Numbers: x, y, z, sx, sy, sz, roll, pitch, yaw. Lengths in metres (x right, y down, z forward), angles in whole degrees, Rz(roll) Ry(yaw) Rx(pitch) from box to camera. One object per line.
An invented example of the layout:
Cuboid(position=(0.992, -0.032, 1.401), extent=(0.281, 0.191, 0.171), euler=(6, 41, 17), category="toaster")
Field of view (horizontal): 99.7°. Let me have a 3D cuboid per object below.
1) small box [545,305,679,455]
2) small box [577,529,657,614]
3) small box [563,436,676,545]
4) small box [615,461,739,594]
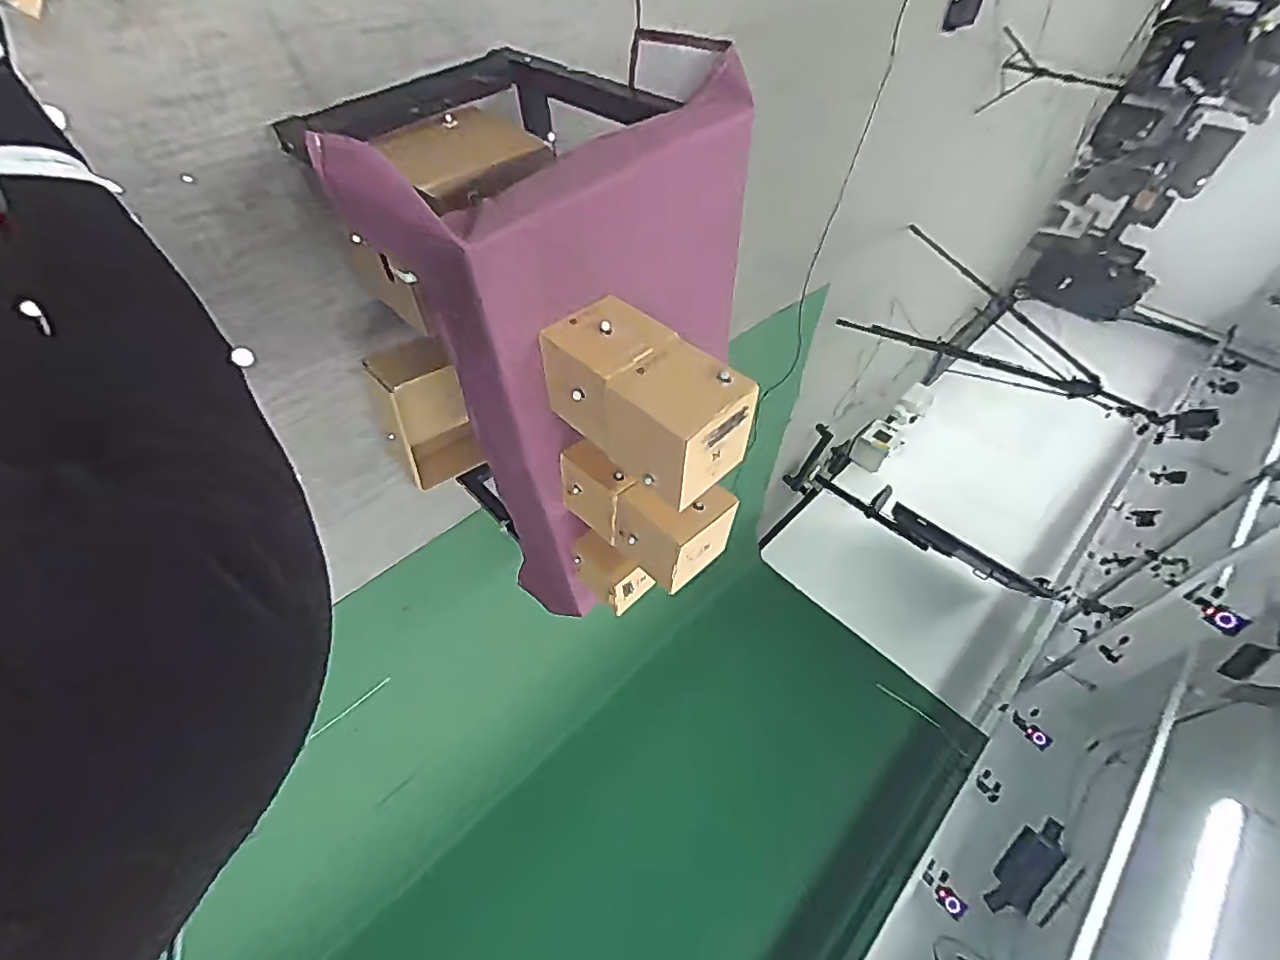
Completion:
Cuboid(position=(-0.050, -0.184, 0.948), extent=(0.168, 0.176, 0.179), euler=(-36, 149, -26), category="small box")
Cuboid(position=(-0.053, 0.211, 1.425), extent=(0.179, 0.176, 0.168), euler=(-37, 150, -27), category="small box")
Cuboid(position=(-0.048, 0.001, 1.182), extent=(0.179, 0.176, 0.168), euler=(-33, 148, -30), category="small box")
Cuboid(position=(0.072, 0.090, 1.111), extent=(0.179, 0.176, 0.168), euler=(-33, 147, -31), category="small box")
